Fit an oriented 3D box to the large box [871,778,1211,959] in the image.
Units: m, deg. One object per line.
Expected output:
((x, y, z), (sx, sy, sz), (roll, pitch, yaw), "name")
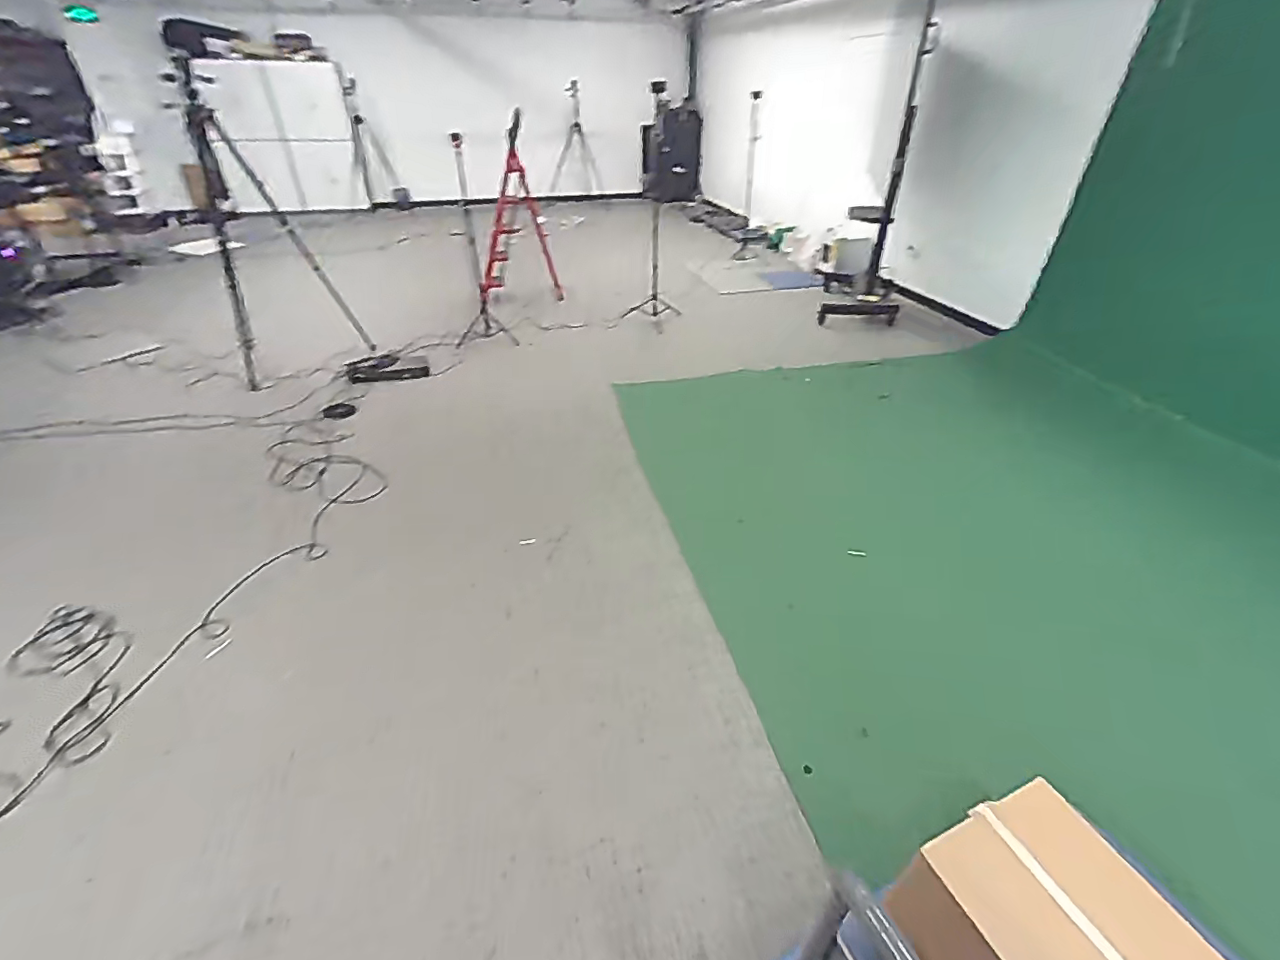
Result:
((0.690, 0.834, 0.937), (0.320, 0.320, 0.408), (-14, 38, -19), "large box")
